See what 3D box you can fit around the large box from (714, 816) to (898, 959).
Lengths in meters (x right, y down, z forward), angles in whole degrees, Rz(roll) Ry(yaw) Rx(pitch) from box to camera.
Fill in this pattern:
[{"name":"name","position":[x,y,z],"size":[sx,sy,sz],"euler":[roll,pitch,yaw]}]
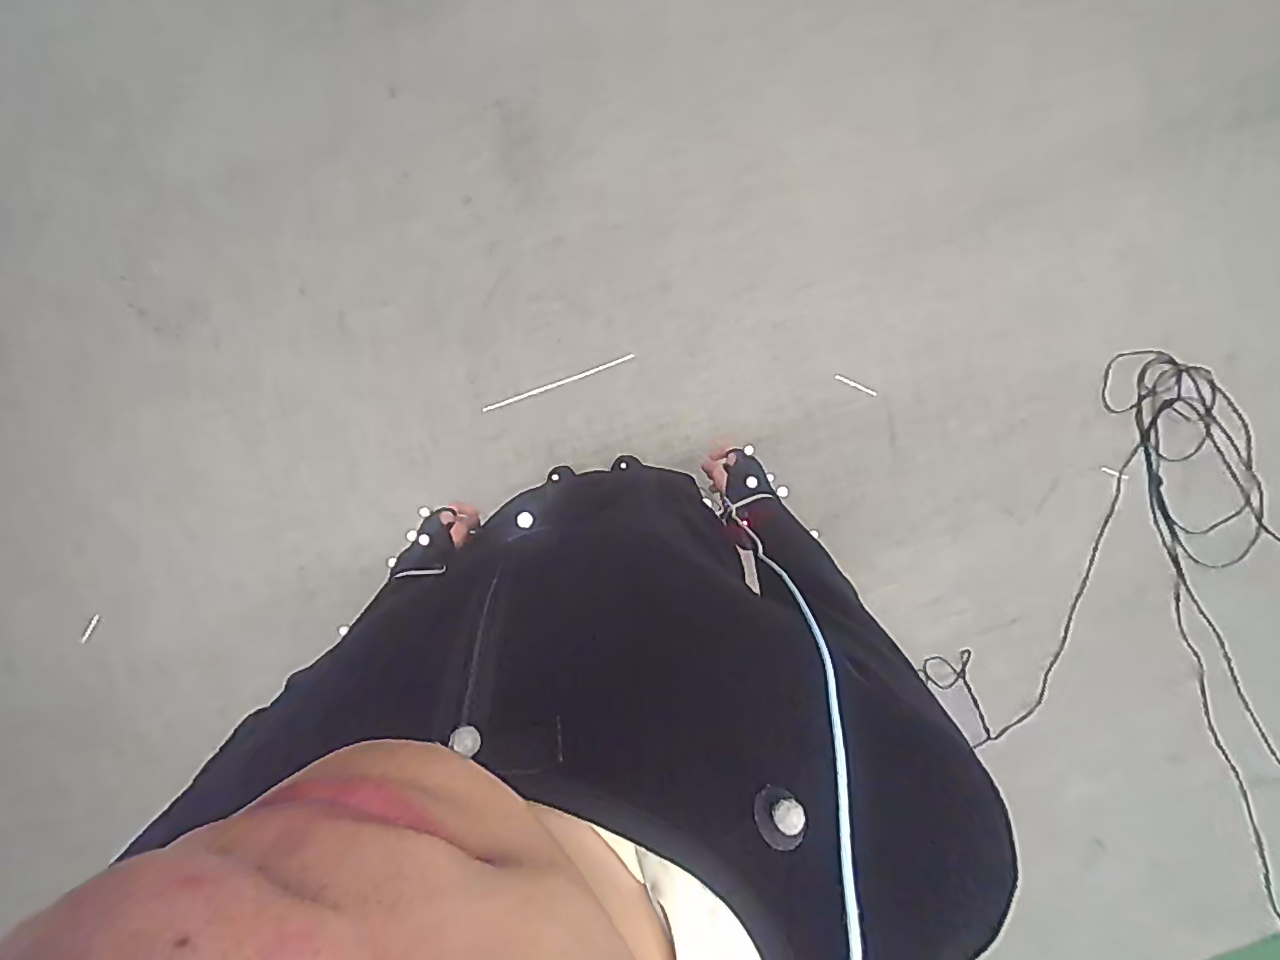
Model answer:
[{"name":"large box","position":[0.472,1.279,1.569],"size":[0.408,0.320,0.320],"euler":[-21,92,-1]}]
